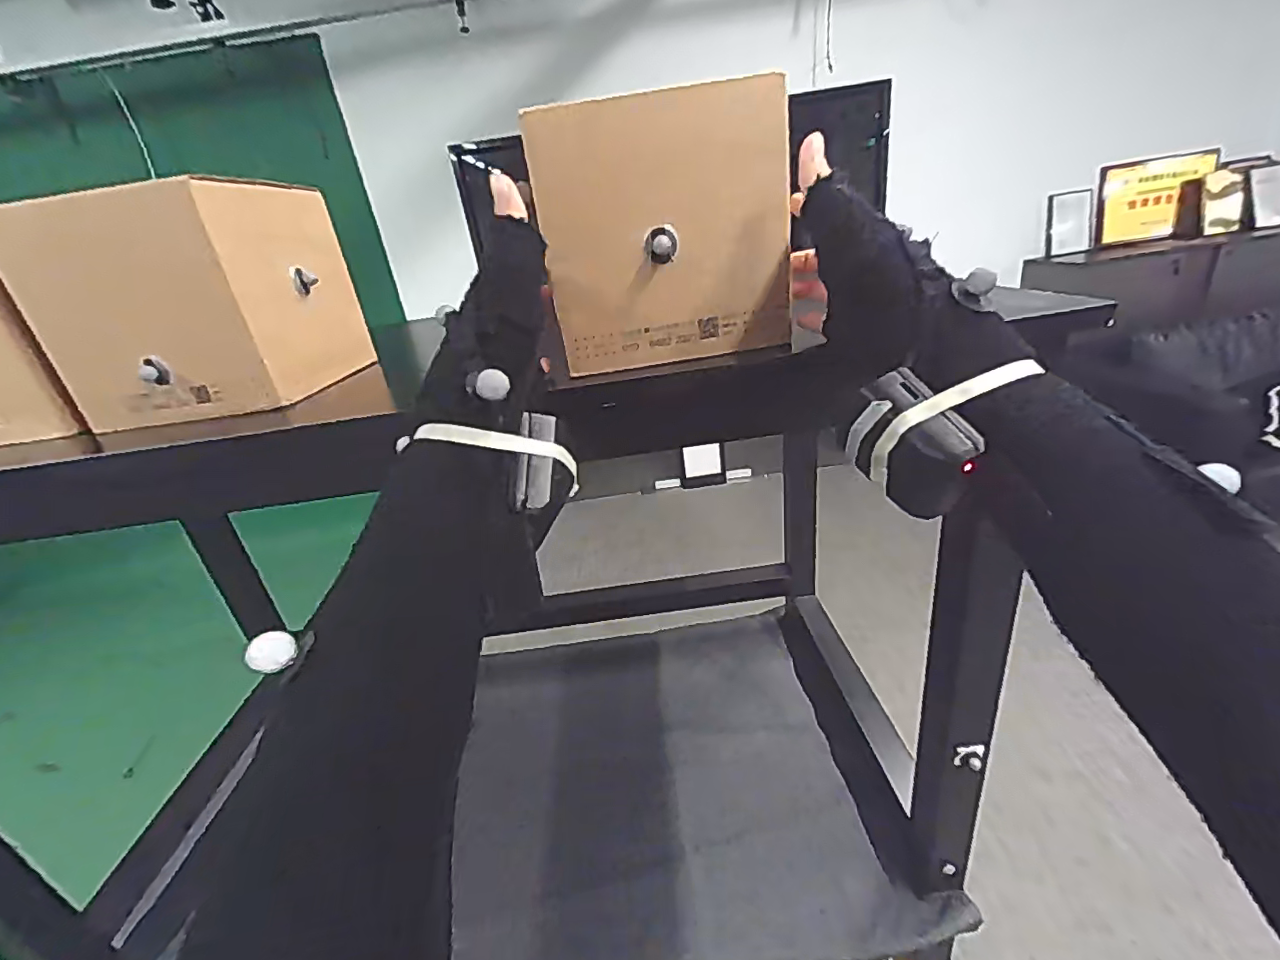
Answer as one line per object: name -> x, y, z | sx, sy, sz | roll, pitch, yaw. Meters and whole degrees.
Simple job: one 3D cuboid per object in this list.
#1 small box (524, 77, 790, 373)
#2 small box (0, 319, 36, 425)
small box -> 0.016, -0.189, 0.433 | 0.168, 0.176, 0.179 | -8, 25, 0
small box -> -0.740, -0.108, 0.498 | 0.168, 0.176, 0.179 | -8, 26, 0
